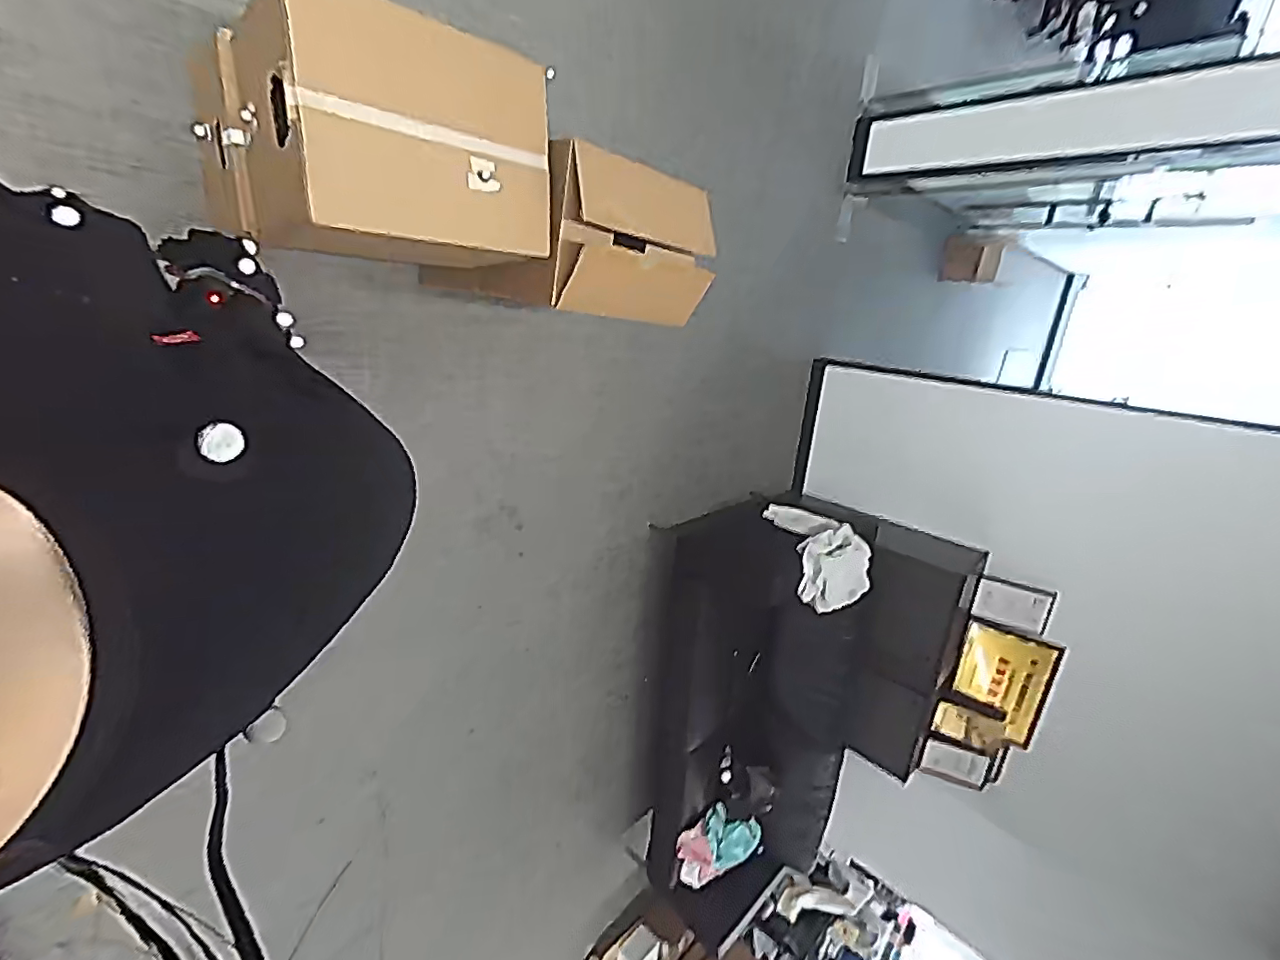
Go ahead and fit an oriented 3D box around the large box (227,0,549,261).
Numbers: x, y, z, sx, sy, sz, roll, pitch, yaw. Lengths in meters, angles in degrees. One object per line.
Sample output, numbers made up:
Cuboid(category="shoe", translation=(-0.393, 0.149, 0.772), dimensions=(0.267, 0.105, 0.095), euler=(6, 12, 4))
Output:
Cuboid(category="large box", translation=(-0.414, -0.570, 0.931), dimensions=(0.408, 0.320, 0.320), euler=(-14, 112, -44))
